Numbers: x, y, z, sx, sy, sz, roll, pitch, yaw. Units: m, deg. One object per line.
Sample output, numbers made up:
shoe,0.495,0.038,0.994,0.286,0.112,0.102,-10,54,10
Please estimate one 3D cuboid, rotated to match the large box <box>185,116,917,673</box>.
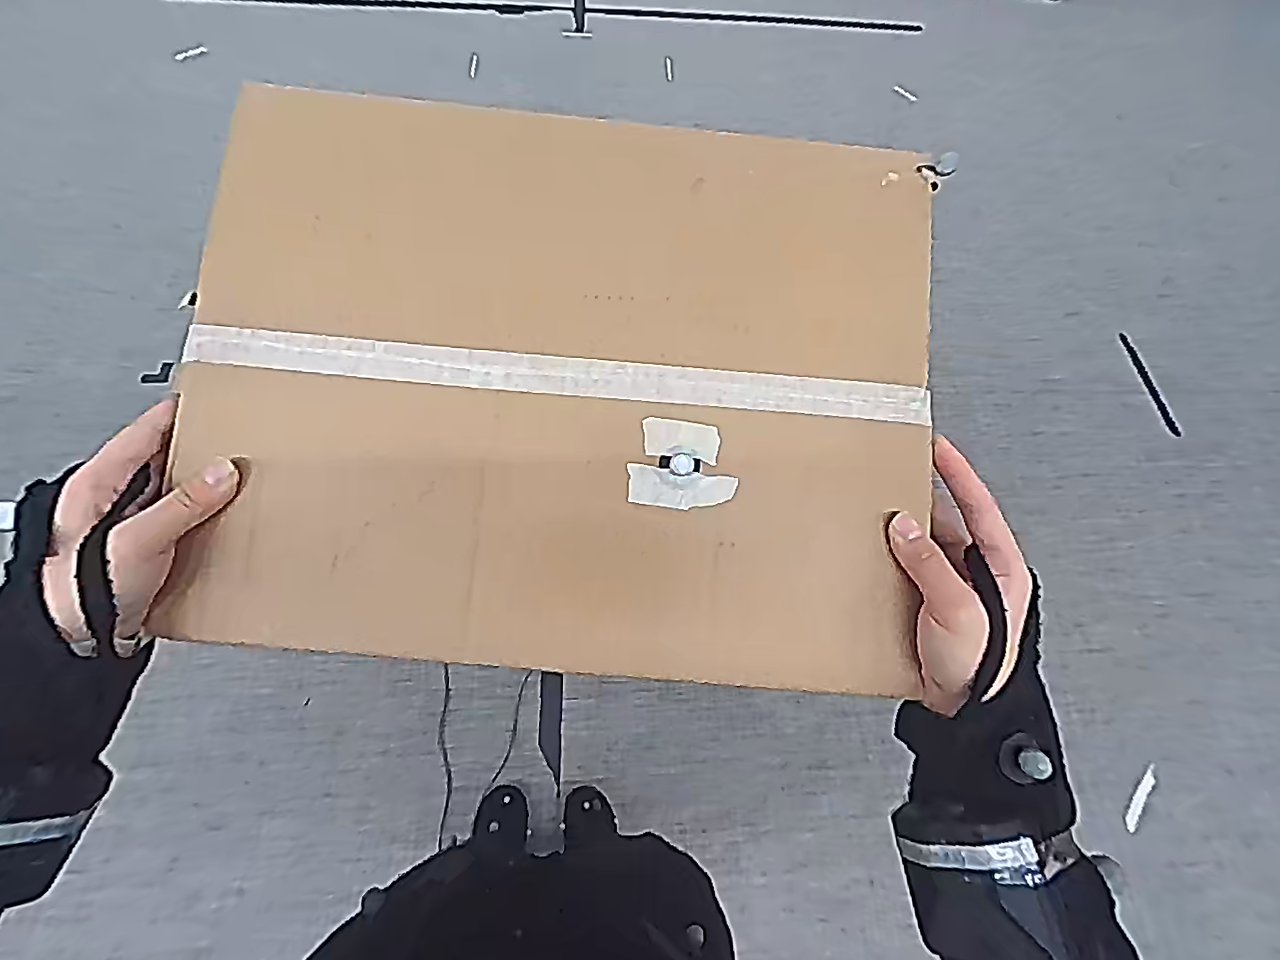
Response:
large box,-0.043,-0.039,0.461,0.408,0.320,0.320,5,83,-1
